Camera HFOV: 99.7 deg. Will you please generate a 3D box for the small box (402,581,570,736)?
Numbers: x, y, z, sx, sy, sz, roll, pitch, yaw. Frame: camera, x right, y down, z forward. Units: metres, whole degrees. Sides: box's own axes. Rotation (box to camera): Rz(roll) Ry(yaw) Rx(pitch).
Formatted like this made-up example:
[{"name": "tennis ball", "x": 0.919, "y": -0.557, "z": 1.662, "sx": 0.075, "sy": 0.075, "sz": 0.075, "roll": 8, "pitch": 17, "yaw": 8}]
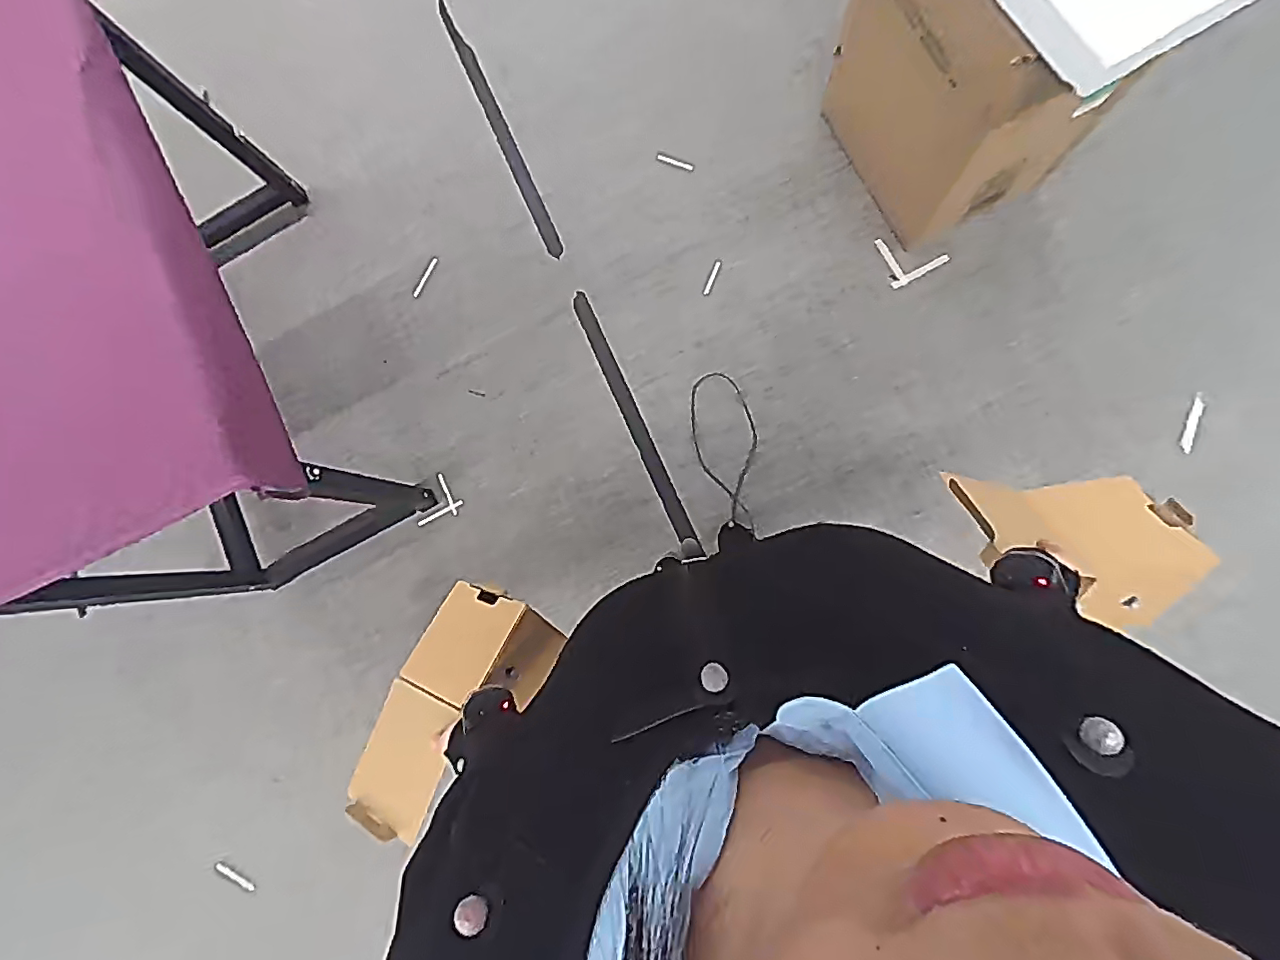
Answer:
[{"name": "small box", "x": -0.244, "y": 0.298, "z": 0.899, "sx": 0.168, "sy": 0.176, "sz": 0.179, "roll": 9, "pitch": 58, "yaw": 32}]
